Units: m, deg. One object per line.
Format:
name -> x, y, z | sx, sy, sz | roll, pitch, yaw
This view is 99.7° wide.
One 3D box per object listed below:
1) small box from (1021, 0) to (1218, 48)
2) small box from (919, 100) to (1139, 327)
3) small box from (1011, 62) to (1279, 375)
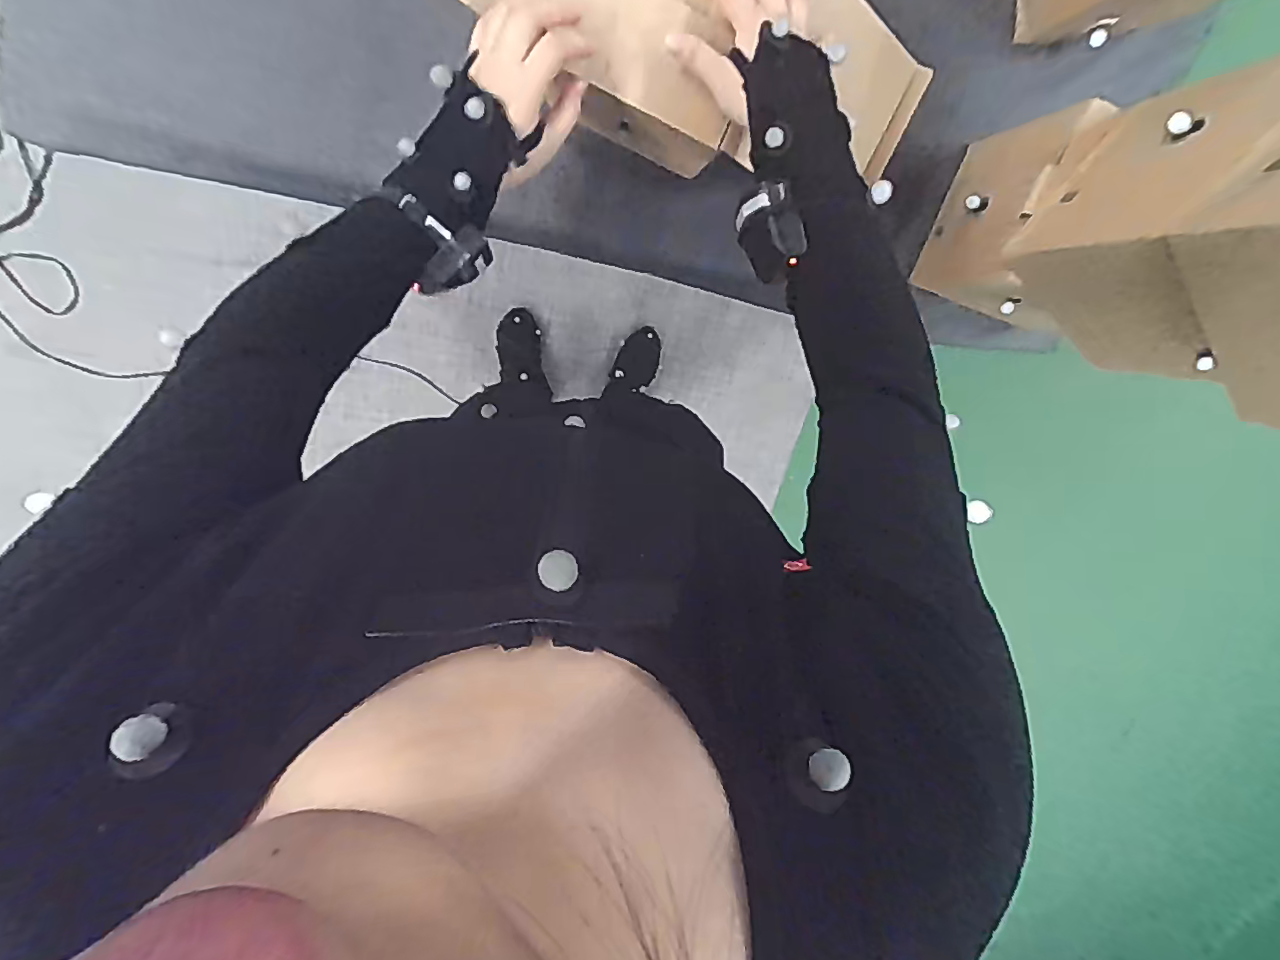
small box -> 0.491, -0.541, 0.496 | 0.168, 0.176, 0.179 | -9, 114, 2
small box -> 0.453, -0.271, 0.598 | 0.179, 0.176, 0.168 | 16, 107, -10
small box -> 0.467, -0.201, 0.450 | 0.179, 0.176, 0.168 | 37, 102, -17
